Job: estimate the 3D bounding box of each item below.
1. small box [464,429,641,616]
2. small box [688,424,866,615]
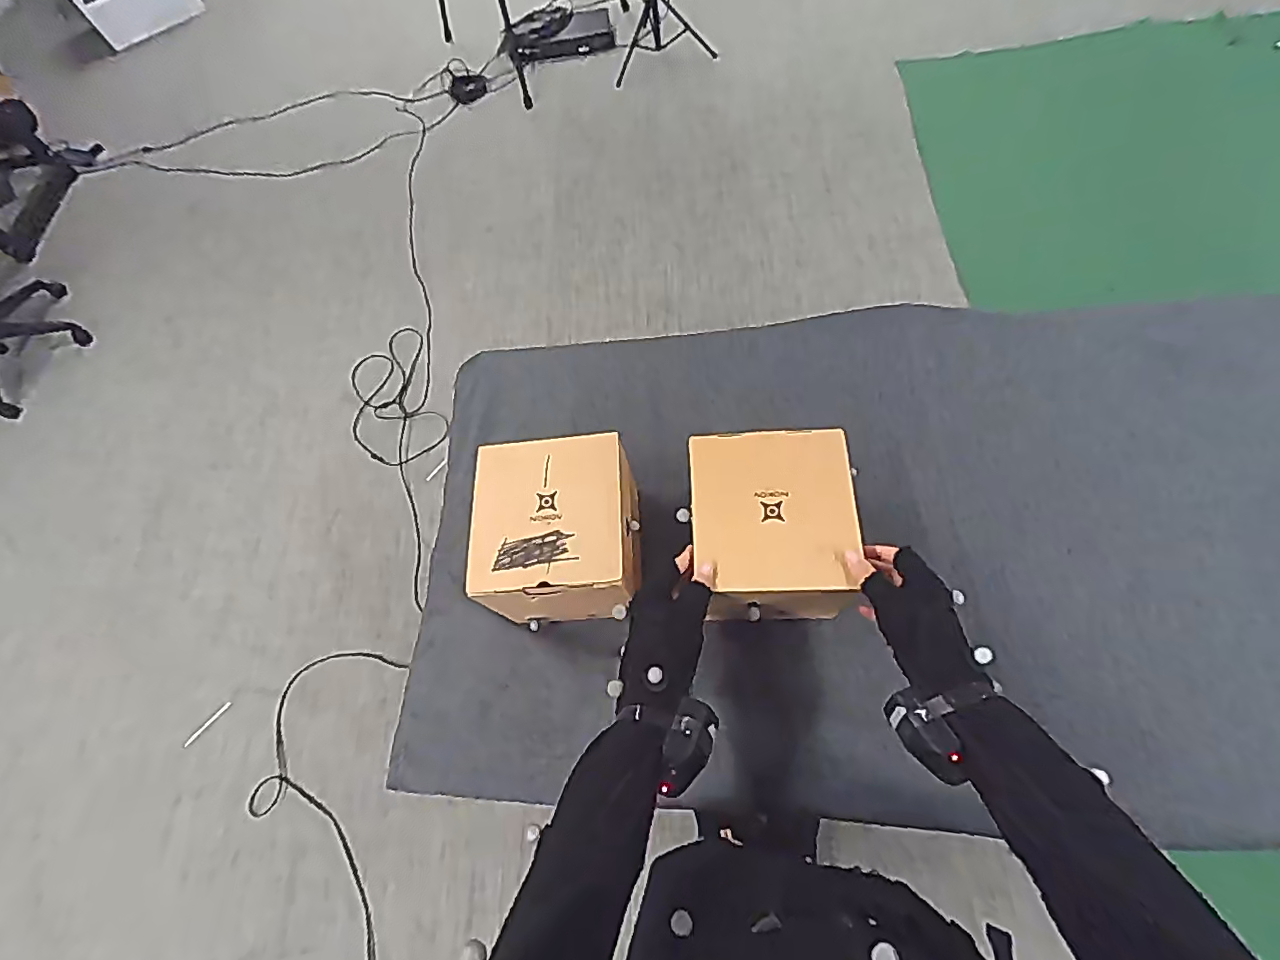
[{"bbox_3d":[-0.091,0.061,0.646,0.168,0.176,0.179,-5,64,5],"label":"small box"},{"bbox_3d":[0.144,0.056,0.618,0.168,0.176,0.179,-3,65,7],"label":"small box"}]
